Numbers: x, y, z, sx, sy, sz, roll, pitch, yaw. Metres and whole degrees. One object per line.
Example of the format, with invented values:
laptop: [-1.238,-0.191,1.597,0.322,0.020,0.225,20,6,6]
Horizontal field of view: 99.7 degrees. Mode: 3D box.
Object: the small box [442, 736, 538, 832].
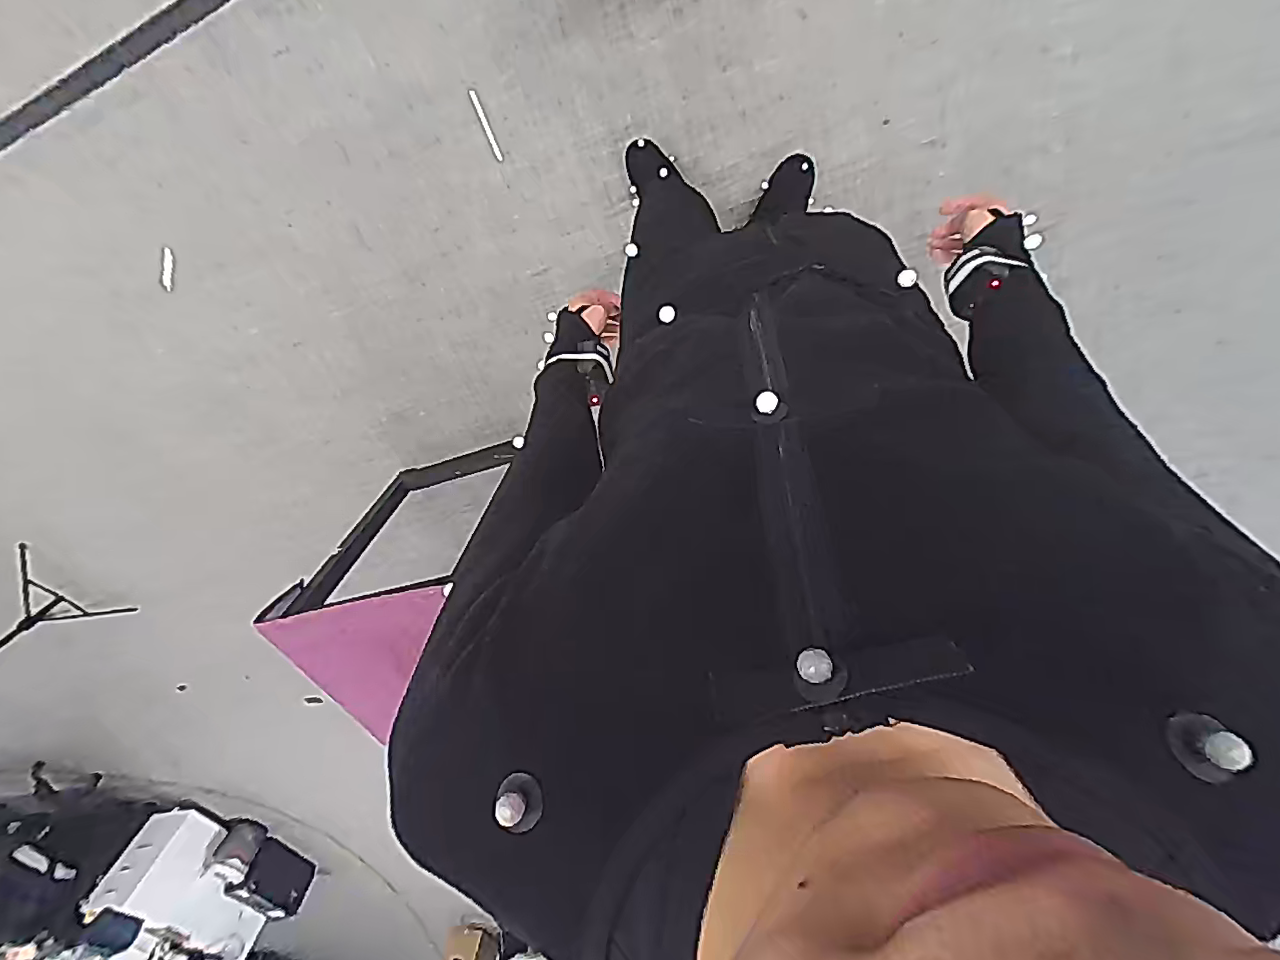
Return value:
small box: [-0.398,0.829,1.483,0.179,0.176,0.168,-23,118,21]
